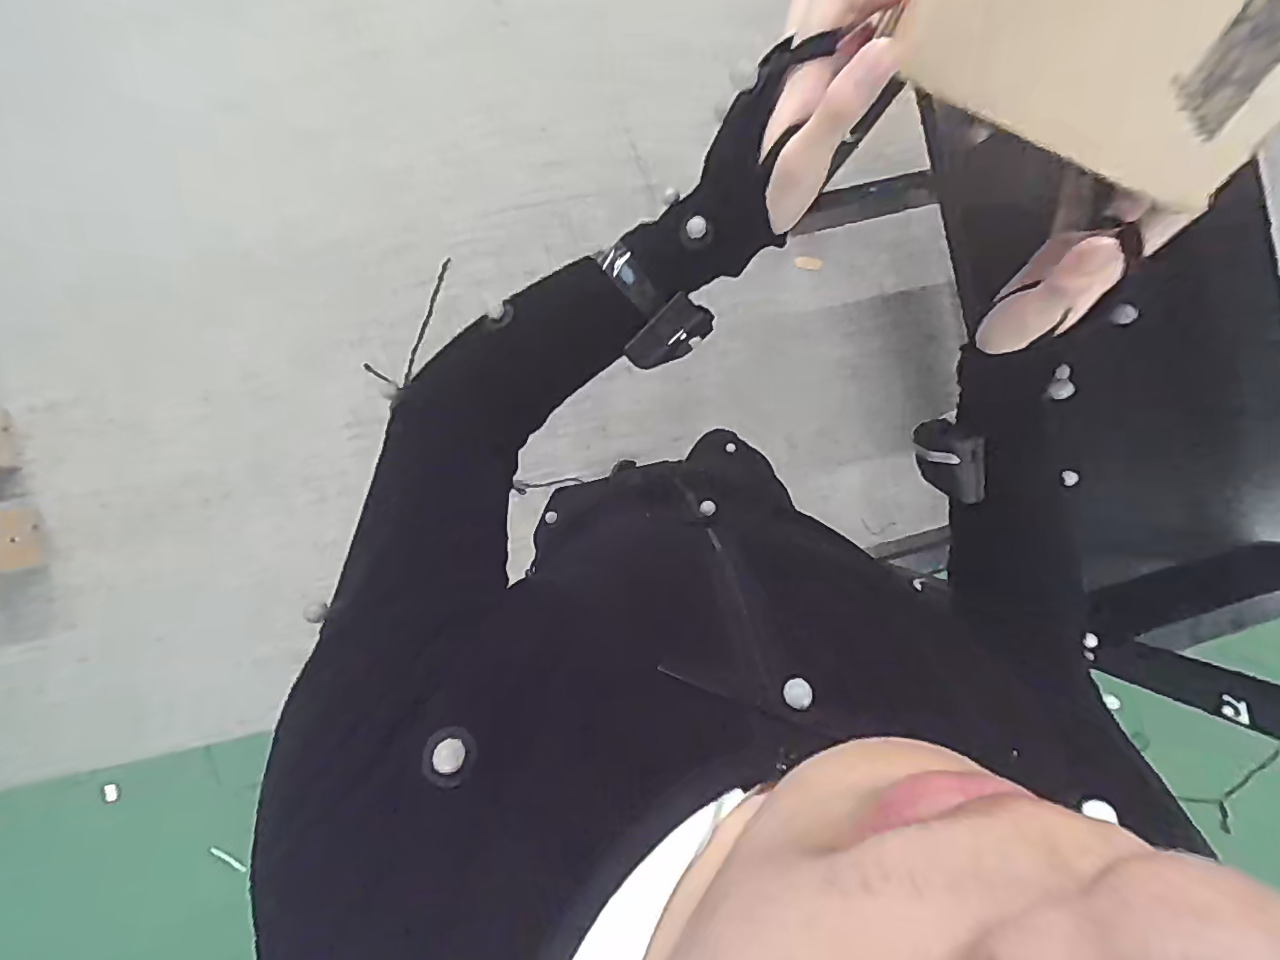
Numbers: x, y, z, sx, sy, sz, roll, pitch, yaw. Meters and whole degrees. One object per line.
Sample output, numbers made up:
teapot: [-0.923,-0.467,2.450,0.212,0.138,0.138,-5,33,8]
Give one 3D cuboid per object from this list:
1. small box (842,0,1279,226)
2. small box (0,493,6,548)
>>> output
small box: [0.225,-0.265,0.267,0.179,0.176,0.168,22,134,-6]
small box: [-1.770,0.113,1.358,0.179,0.176,0.168,-9,92,-5]
